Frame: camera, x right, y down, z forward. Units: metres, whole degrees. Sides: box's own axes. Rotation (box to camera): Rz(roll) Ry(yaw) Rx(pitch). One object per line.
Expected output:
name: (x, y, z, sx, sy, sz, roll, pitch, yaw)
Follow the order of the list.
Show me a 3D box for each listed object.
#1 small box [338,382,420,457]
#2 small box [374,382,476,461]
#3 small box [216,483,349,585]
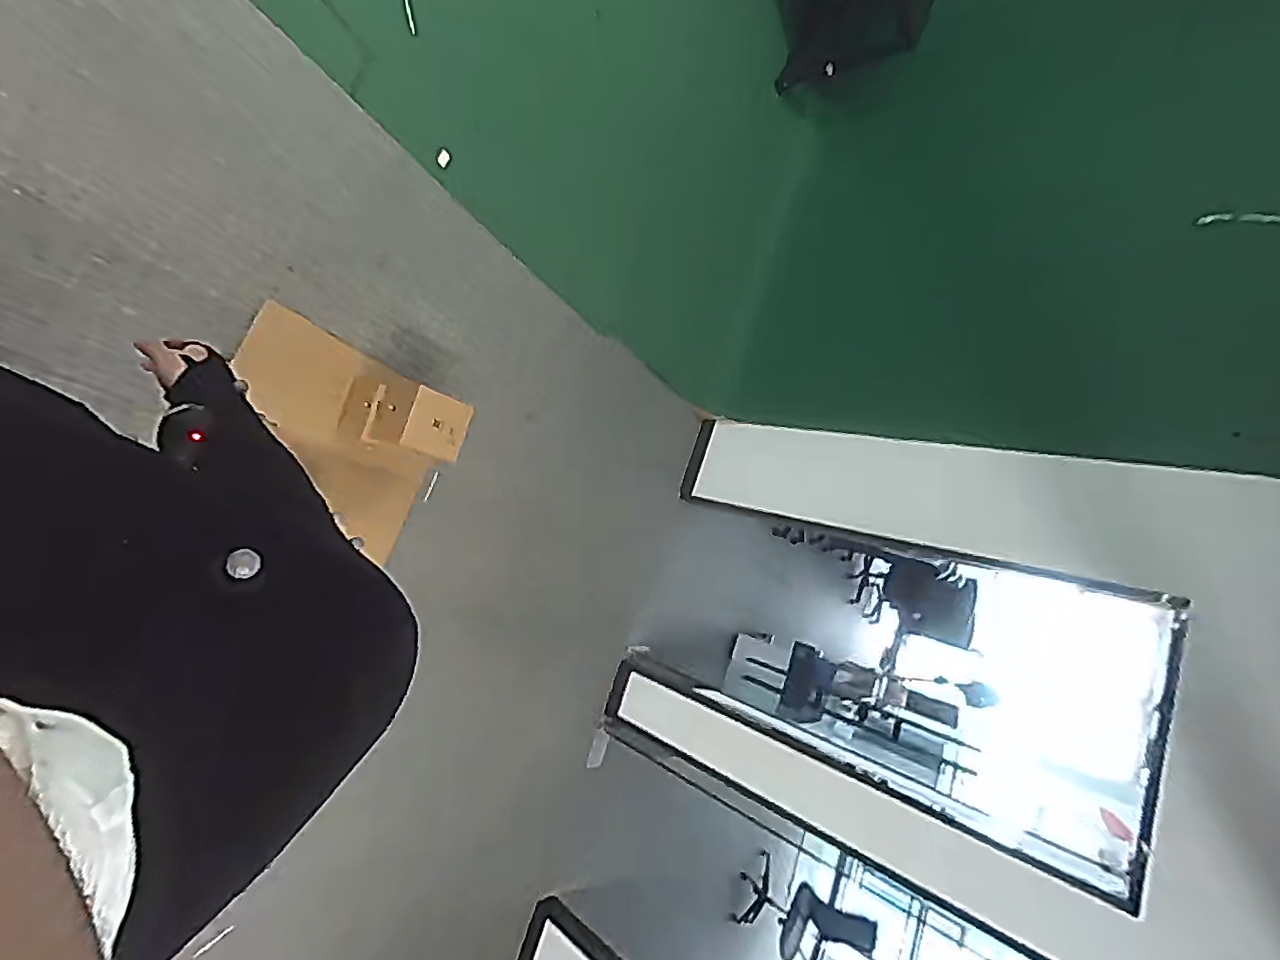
small box: (-0.738, -0.179, 1.578, 0.179, 0.176, 0.168, 24, 81, -52)
small box: (-0.596, -0.164, 1.491, 0.179, 0.176, 0.168, 26, 81, -52)
small box: (-0.837, 0.121, 1.264, 0.179, 0.176, 0.168, 48, 63, -48)
